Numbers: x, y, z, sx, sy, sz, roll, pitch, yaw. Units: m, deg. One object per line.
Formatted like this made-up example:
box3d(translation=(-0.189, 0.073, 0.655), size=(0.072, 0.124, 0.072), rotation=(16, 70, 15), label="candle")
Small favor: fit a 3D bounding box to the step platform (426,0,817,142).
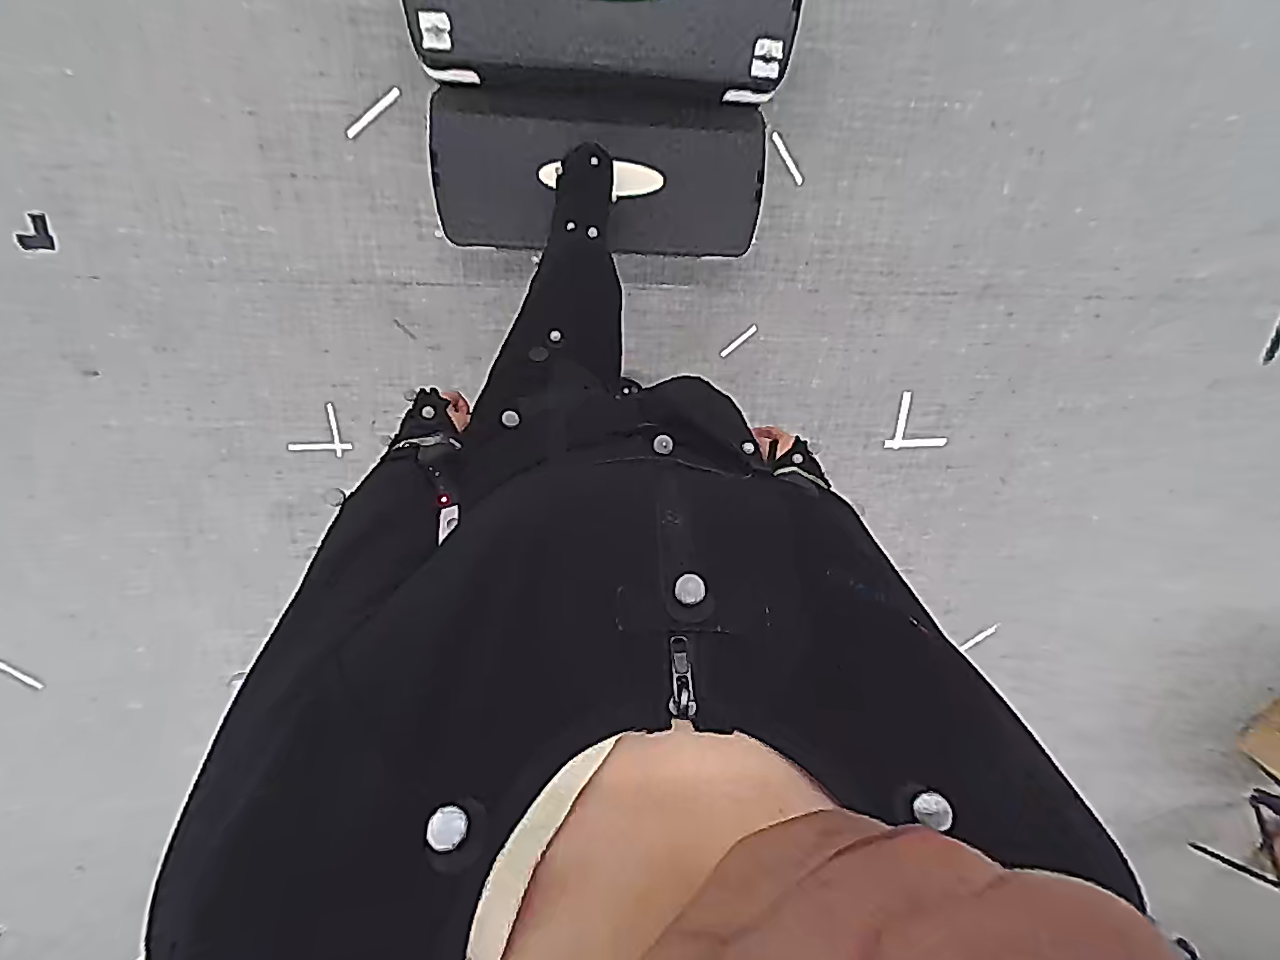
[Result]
box3d(translation=(-0.031, -0.837, 0.986), size=(0.684, 0.204, 0.286), rotation=(4, 112, -8), label="step platform")
